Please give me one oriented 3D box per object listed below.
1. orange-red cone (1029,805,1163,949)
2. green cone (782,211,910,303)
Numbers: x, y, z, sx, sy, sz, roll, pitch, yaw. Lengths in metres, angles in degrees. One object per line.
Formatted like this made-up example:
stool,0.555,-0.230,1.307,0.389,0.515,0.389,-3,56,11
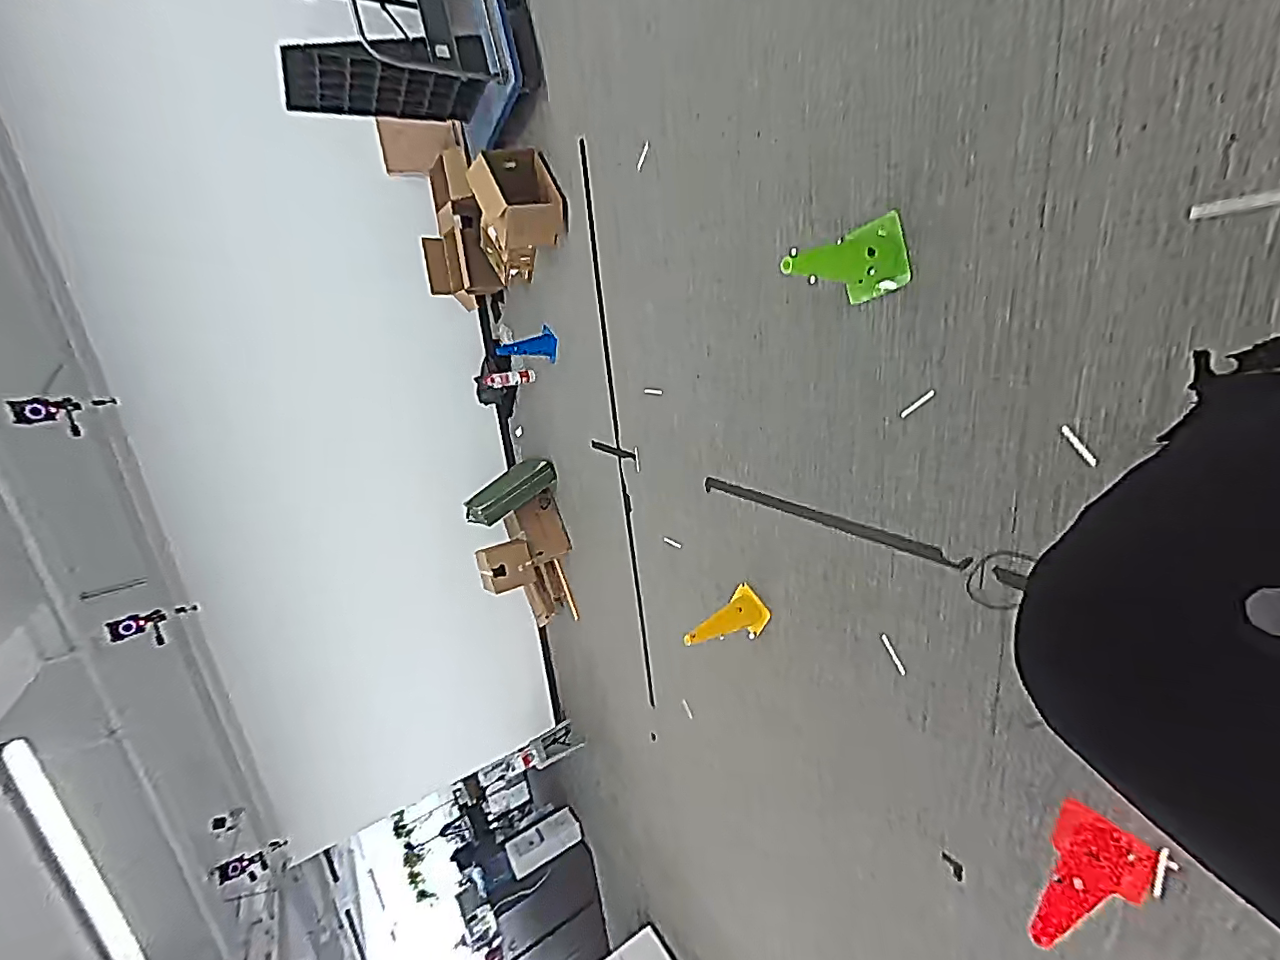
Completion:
orange-red cone,1.054,1.011,1.317,0.199,0.360,0.198,32,130,52
green cone,0.518,-0.585,1.452,0.202,0.368,0.200,-9,97,60
